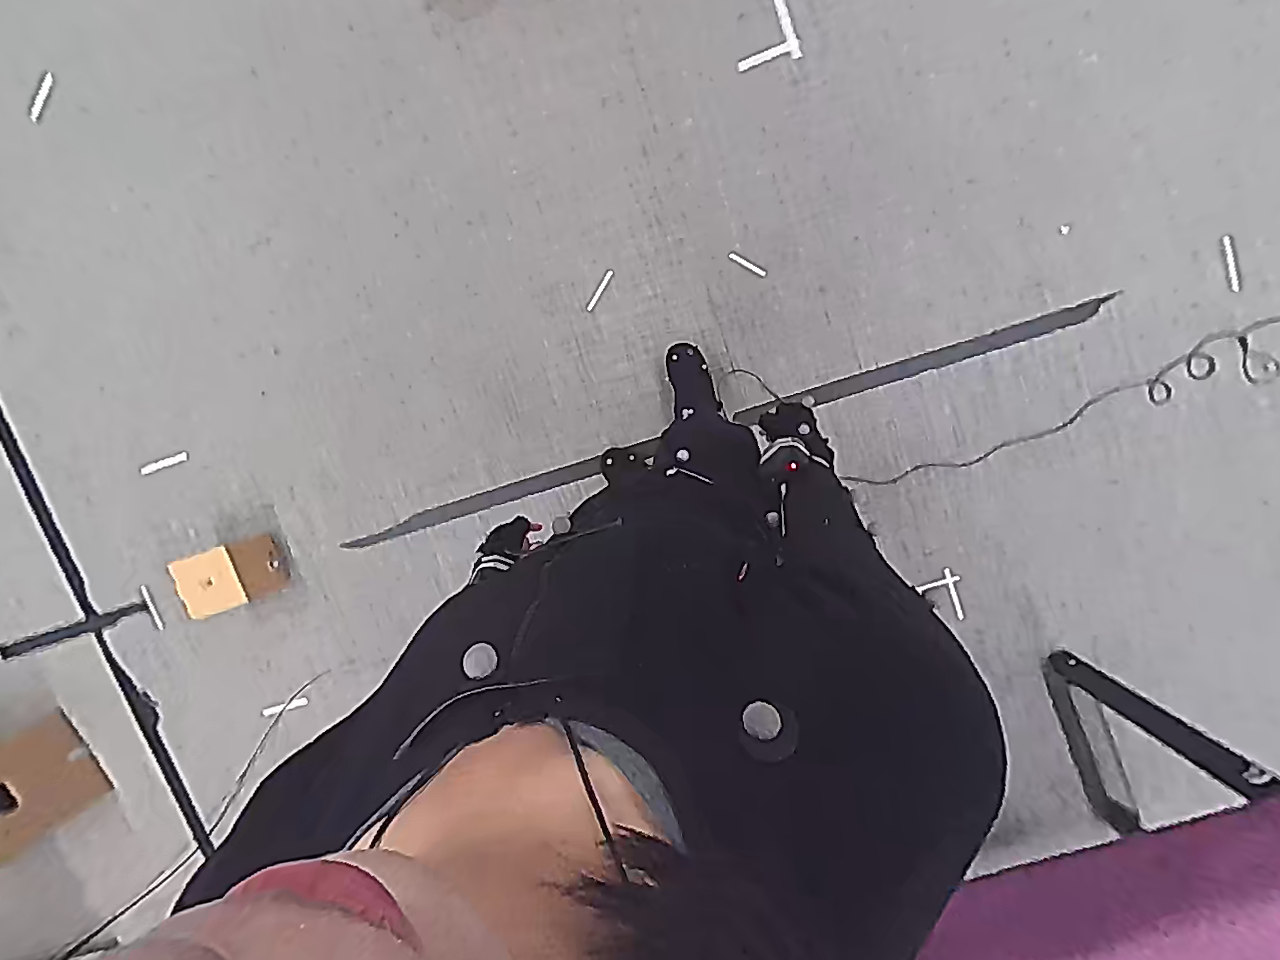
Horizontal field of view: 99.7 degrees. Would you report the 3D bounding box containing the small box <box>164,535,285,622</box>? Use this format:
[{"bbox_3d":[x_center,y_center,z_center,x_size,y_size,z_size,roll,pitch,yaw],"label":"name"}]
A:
[{"bbox_3d":[-1.144,0.267,1.501,0.179,0.176,0.168,-19,97,3],"label":"small box"}]
